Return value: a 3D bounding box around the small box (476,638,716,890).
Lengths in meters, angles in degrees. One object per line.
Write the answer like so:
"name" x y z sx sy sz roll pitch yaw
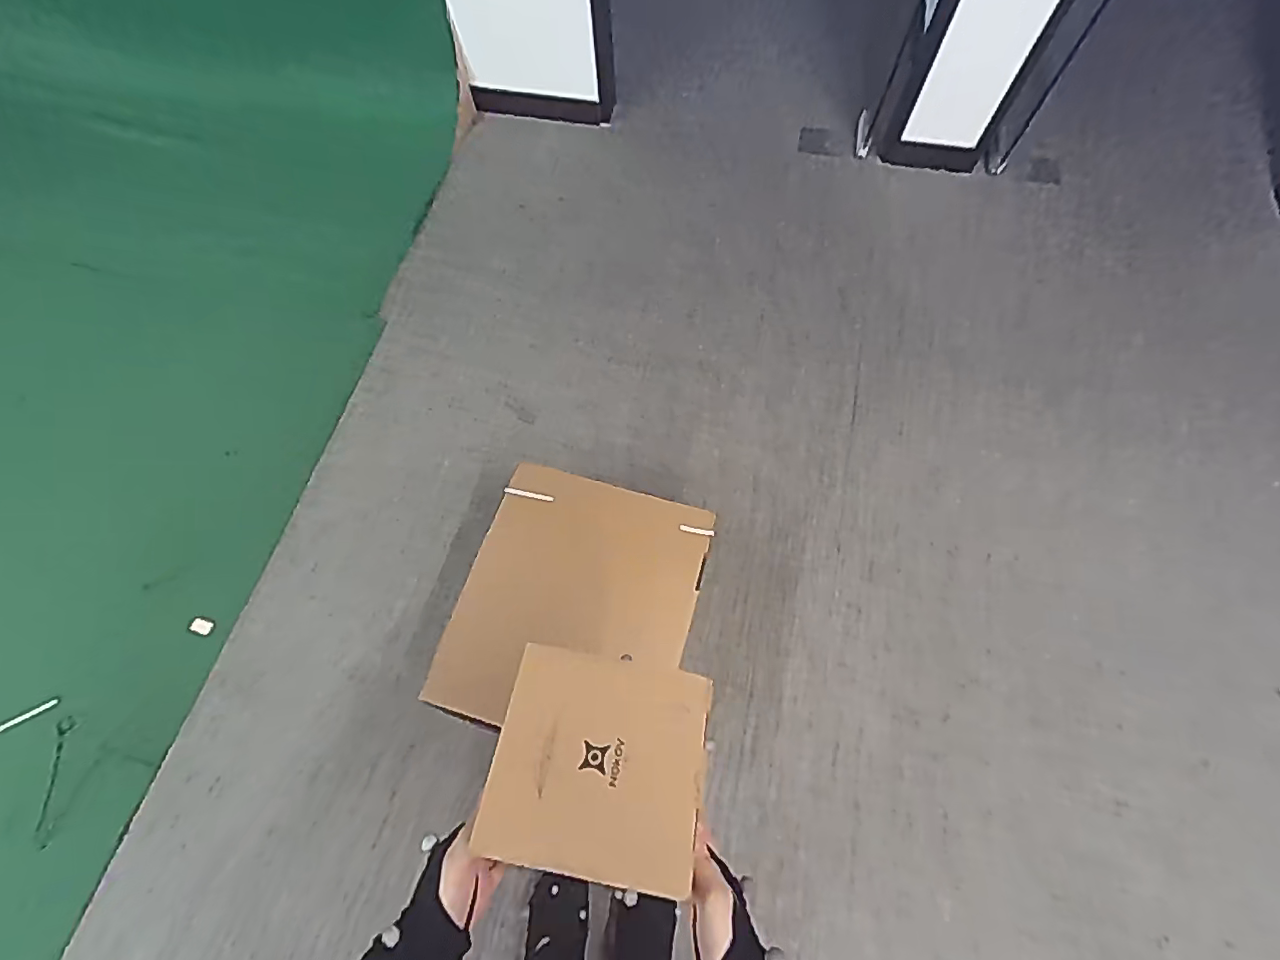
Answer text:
"small box" -0.033 0.272 0.525 0.179 0.176 0.168 9 57 4
